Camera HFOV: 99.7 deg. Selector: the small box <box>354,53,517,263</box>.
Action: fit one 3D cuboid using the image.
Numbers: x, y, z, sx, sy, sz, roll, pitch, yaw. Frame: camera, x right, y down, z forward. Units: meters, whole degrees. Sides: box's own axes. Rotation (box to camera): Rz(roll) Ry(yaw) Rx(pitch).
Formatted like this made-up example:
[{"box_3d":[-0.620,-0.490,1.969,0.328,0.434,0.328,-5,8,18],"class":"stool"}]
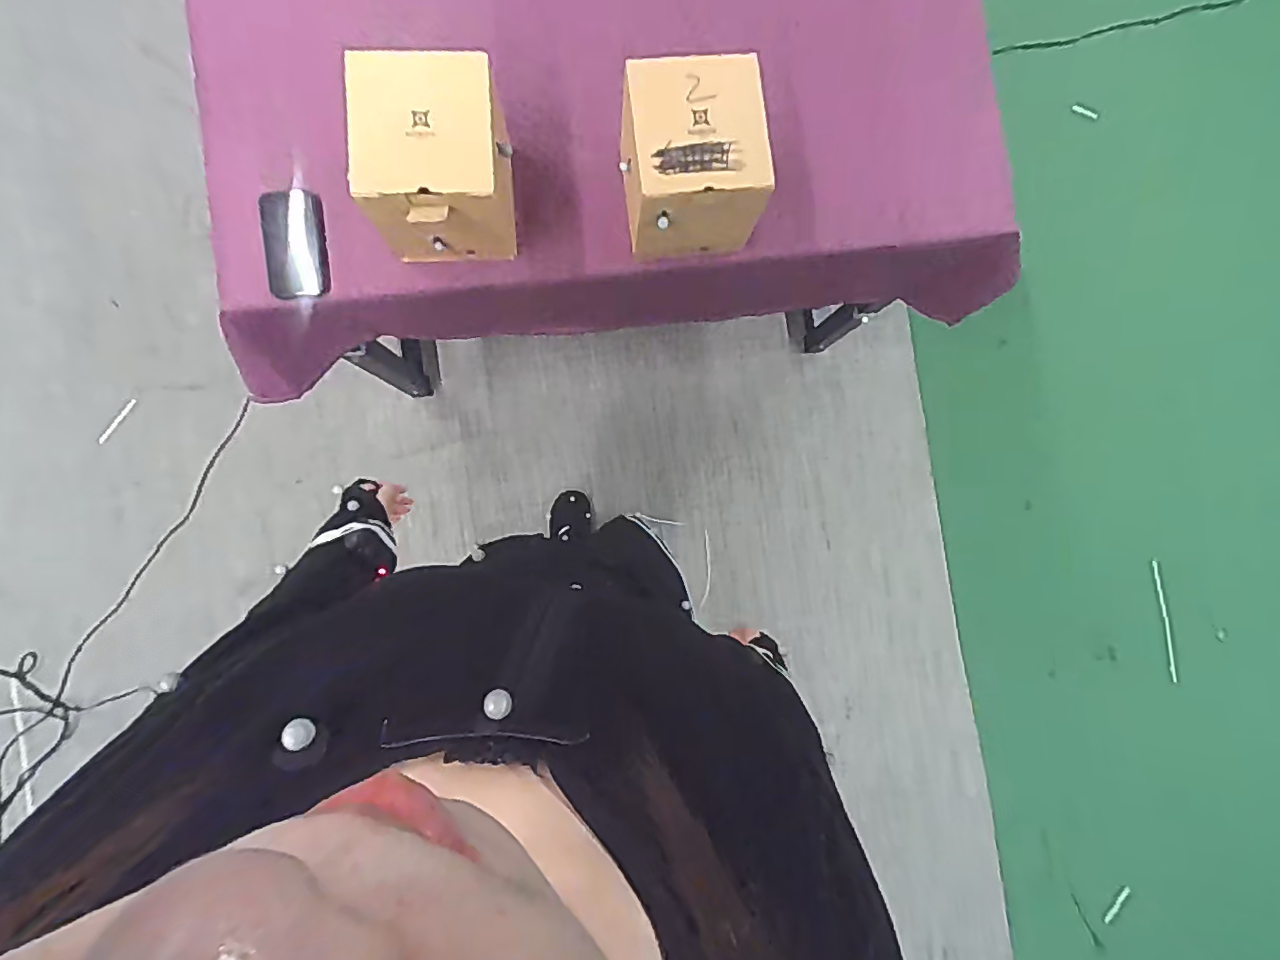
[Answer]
[{"box_3d":[-0.256,-0.409,0.712,0.168,0.176,0.179,-3,88,-5],"class":"small box"}]
